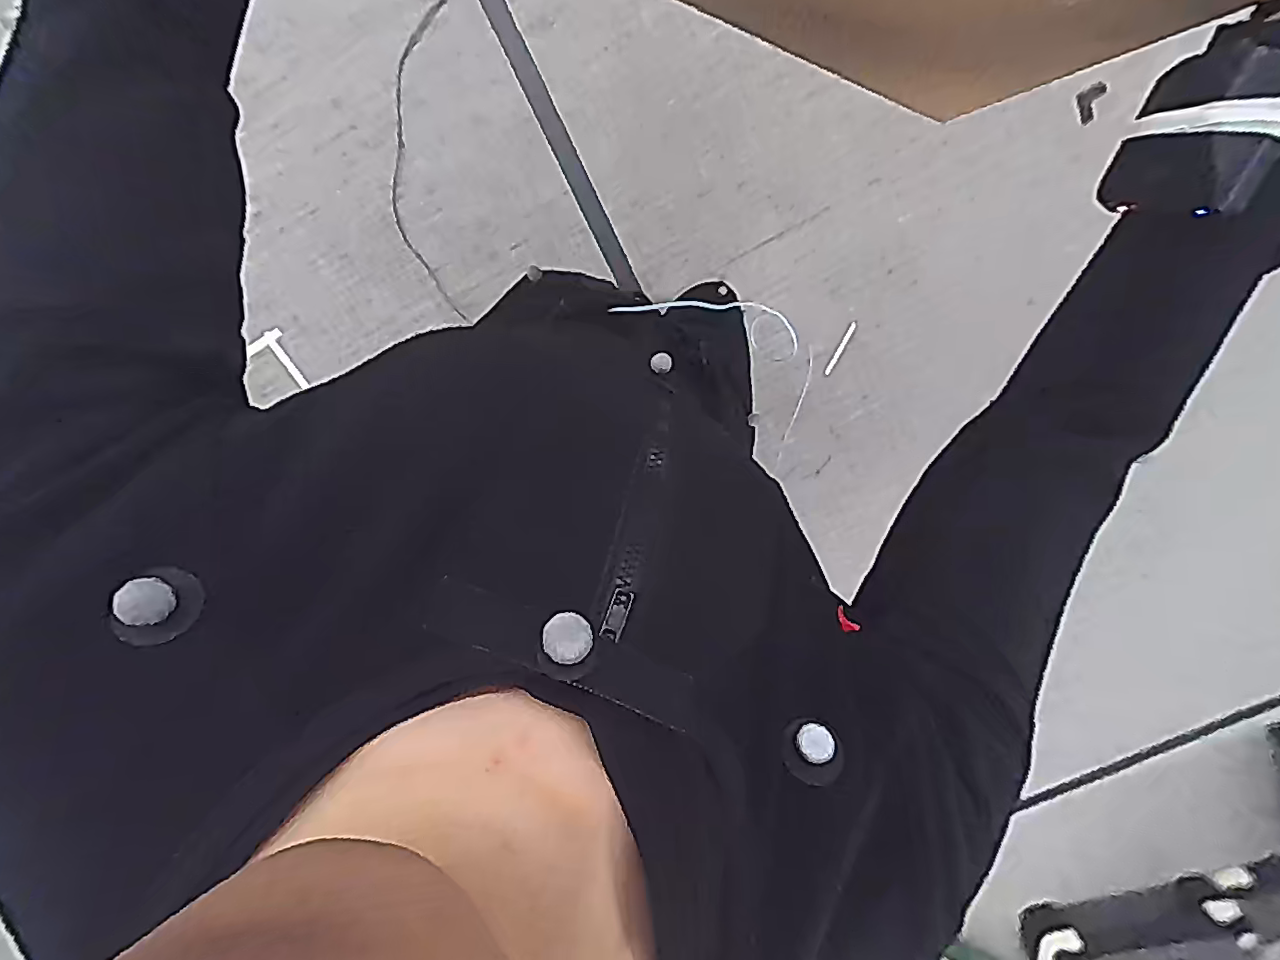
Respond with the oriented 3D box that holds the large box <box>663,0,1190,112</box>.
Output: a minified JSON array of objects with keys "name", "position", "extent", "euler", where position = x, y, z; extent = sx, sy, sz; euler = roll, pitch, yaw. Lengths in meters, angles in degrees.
[{"name":"large box","position":[0.151,-0.484,0.311],"extent":[0.408,0.320,0.320],"euler":[17,113,-8]}]
